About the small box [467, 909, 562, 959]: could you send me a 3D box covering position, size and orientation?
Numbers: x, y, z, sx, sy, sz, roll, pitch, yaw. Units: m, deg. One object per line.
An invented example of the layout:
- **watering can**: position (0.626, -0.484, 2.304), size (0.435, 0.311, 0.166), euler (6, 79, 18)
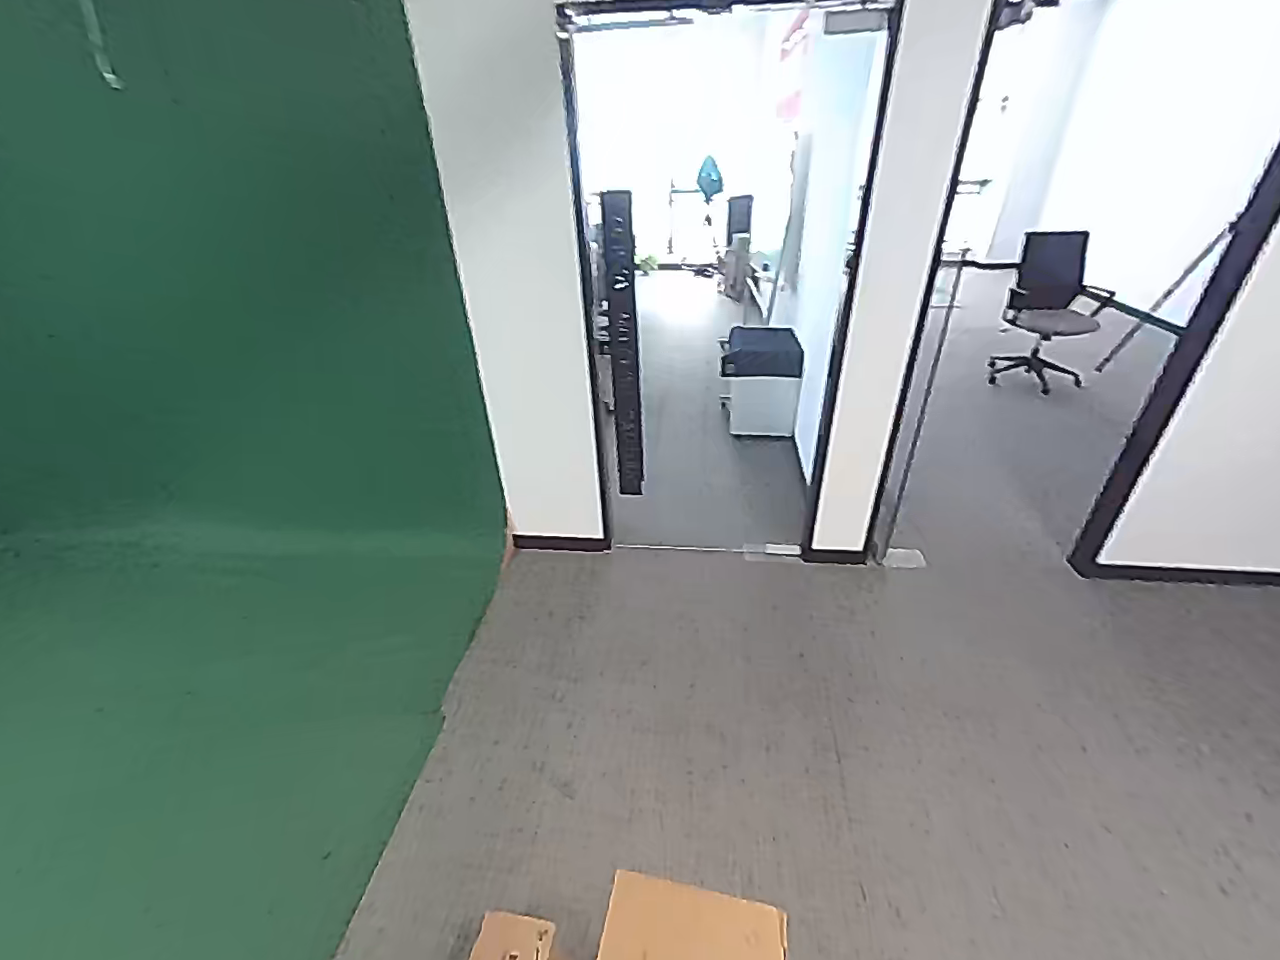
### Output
- **small box**: position (-0.291, 1.127, 1.234), size (0.179, 0.176, 0.168), euler (4, 32, 10)

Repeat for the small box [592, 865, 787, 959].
- **small box**: position (0.040, 0.518, 0.518), size (0.179, 0.176, 0.168), euler (6, 31, 12)
